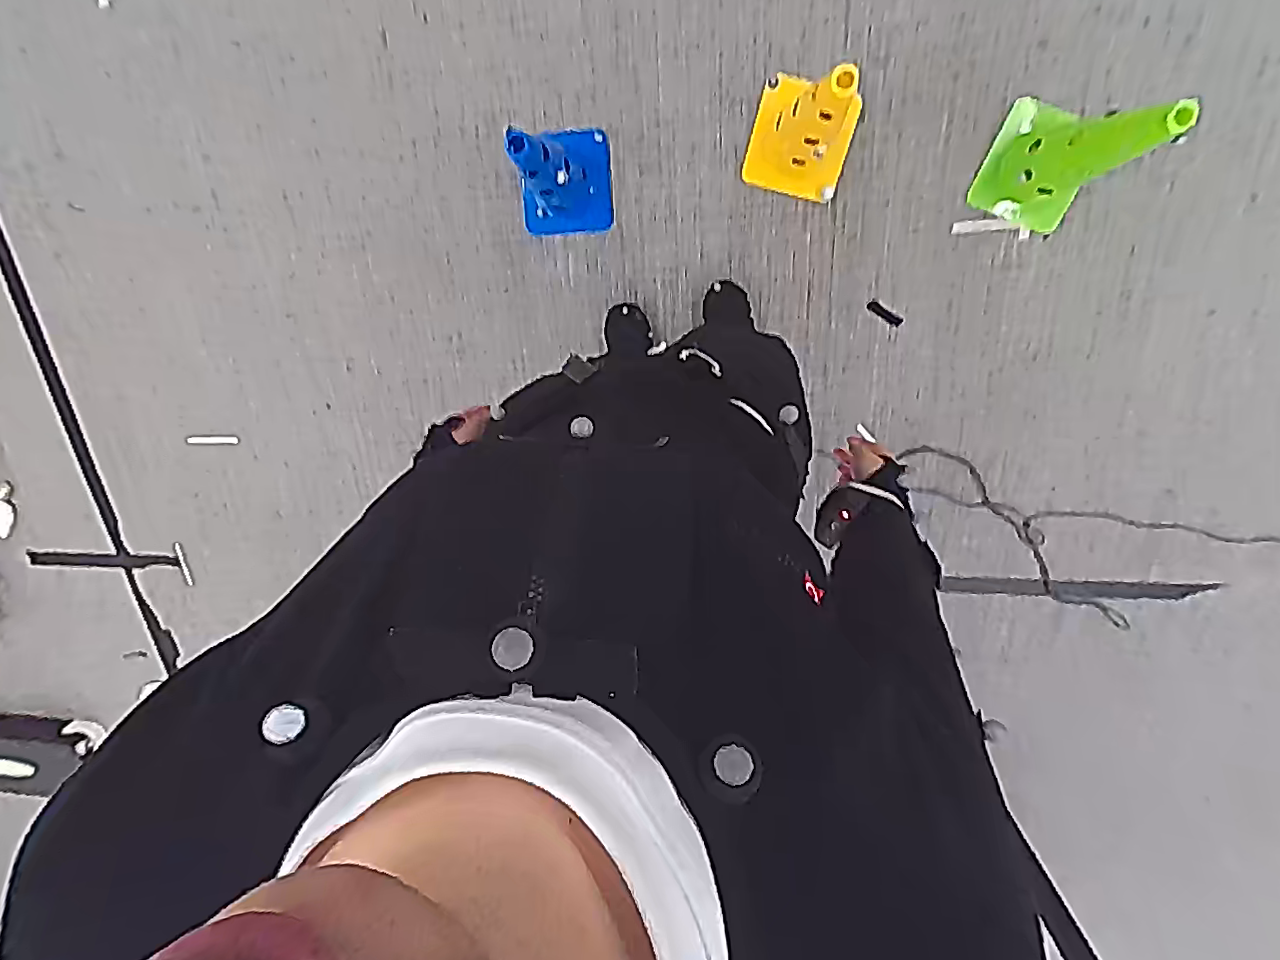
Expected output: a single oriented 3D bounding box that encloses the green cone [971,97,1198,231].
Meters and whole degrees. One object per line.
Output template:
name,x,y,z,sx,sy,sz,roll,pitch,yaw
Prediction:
green cone,0.782,-0.571,0.927,0.200,0.368,0.202,20,111,-1
